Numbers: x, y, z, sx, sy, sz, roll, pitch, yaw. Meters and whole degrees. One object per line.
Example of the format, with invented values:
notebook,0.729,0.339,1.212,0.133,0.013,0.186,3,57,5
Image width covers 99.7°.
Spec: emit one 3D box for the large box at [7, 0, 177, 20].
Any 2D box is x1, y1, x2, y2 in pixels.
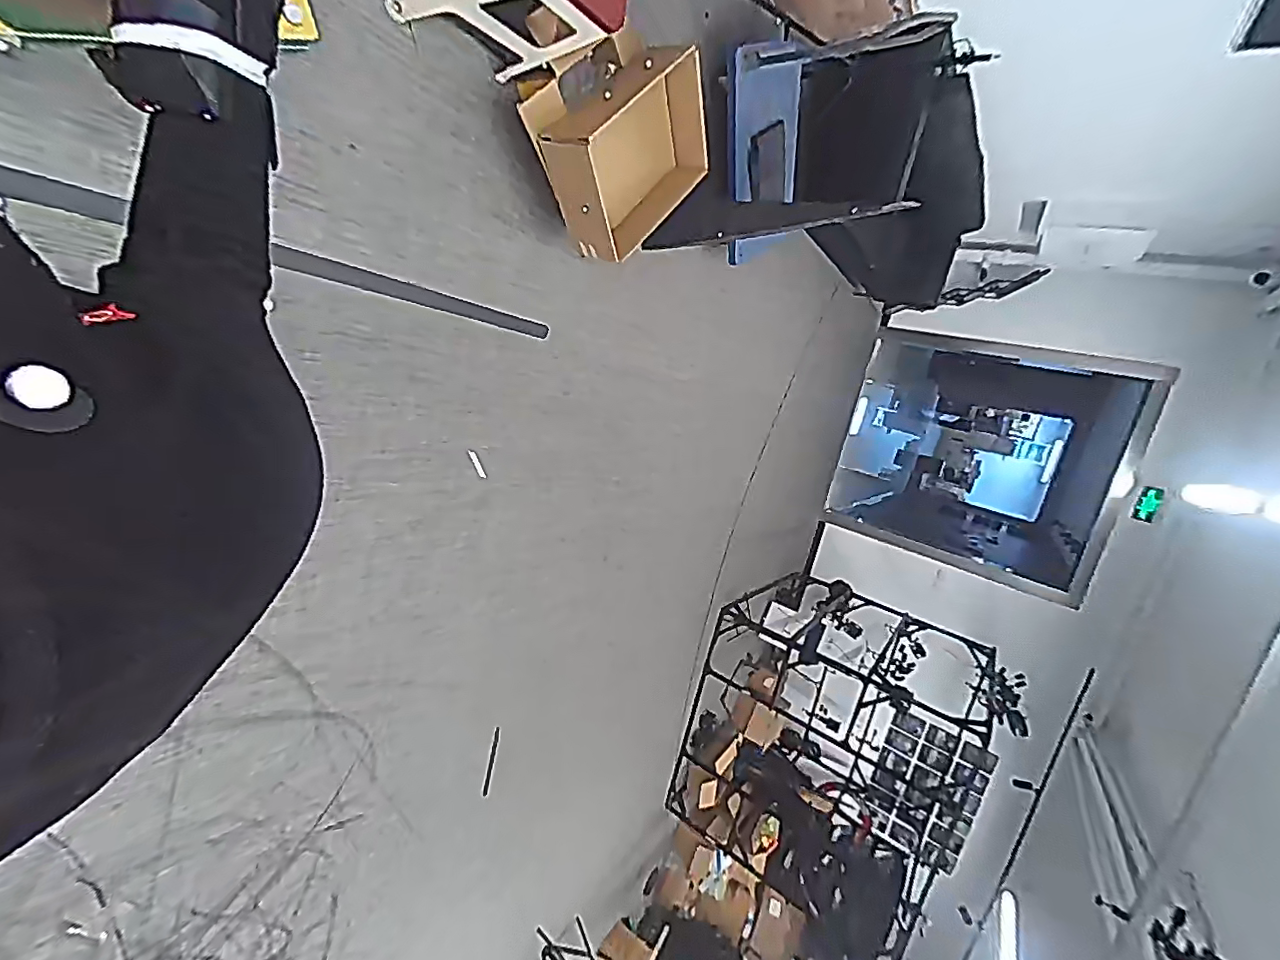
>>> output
large box,-0.491,-0.486,0.223,0.408,0.320,0.320,-8,122,-57
